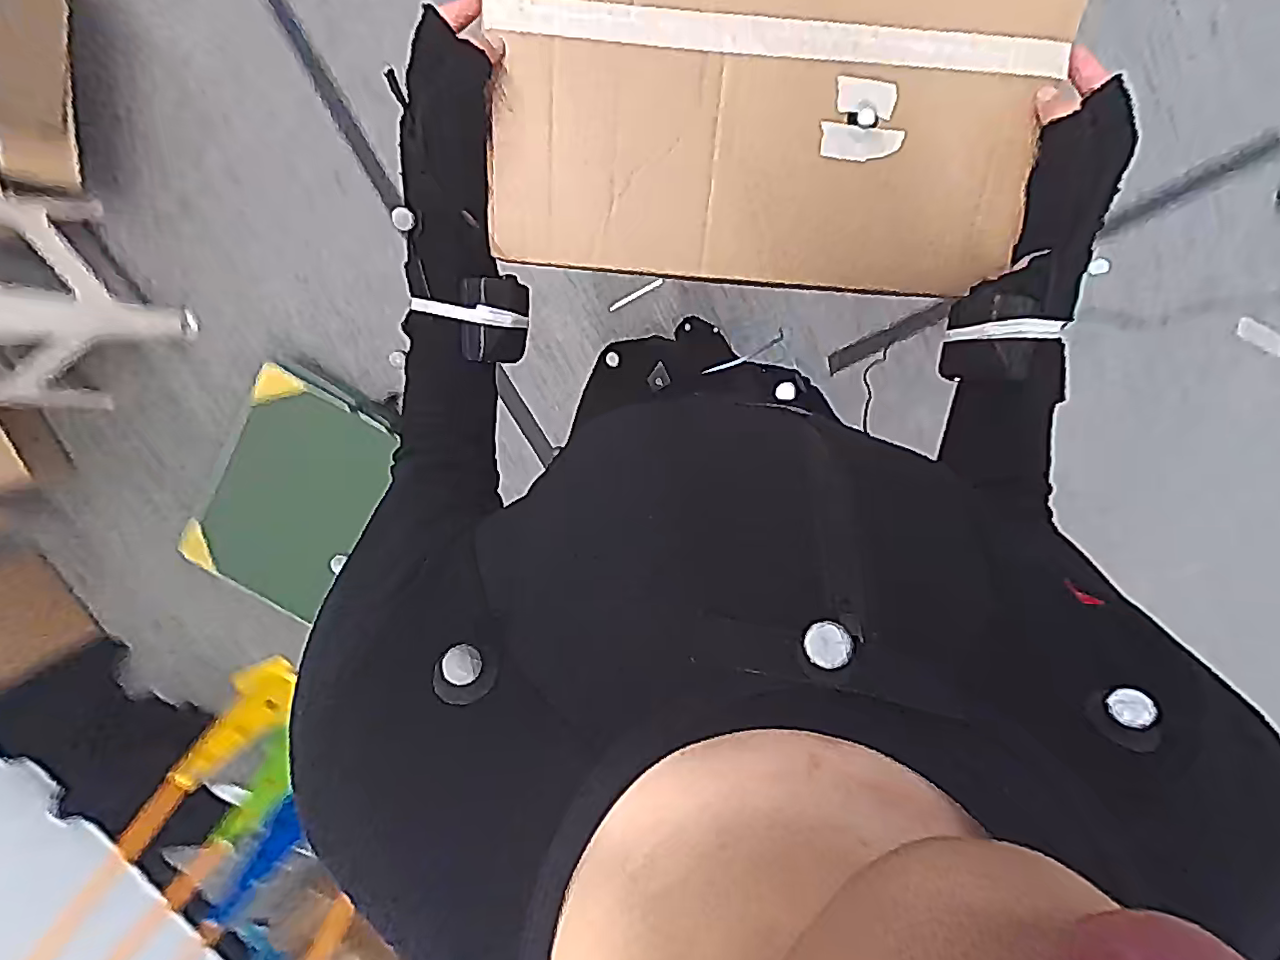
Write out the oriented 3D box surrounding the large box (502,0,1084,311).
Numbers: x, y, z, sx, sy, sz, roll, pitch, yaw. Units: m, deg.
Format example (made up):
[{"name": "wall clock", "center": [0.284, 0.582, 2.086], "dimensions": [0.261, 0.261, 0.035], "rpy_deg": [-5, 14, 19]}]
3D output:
[{"name": "large box", "center": [0.099, -0.350, 0.524], "dimensions": [0.408, 0.320, 0.320], "rpy_deg": [6, 111, -3]}]
